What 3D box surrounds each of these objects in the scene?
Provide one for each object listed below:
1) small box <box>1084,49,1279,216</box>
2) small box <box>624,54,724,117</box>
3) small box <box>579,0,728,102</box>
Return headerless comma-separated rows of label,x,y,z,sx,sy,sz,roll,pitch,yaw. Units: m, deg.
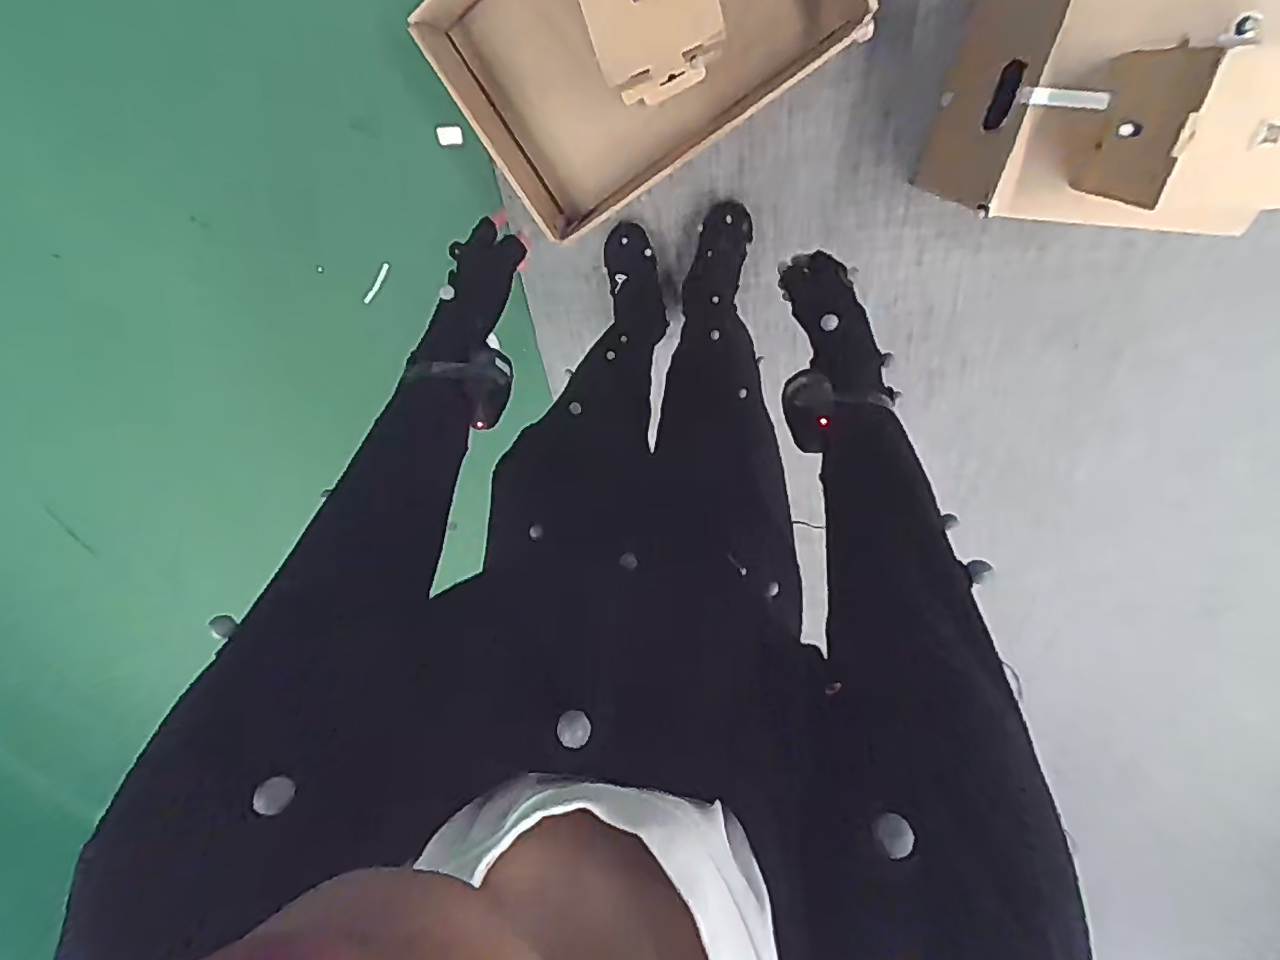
small box,0.729,-0.440,0.689,0.179,0.176,0.168,1,126,4
small box,0.031,-0.721,0.871,0.168,0.176,0.179,-18,120,18
small box,0.016,-0.642,0.730,0.168,0.176,0.179,-16,120,15
